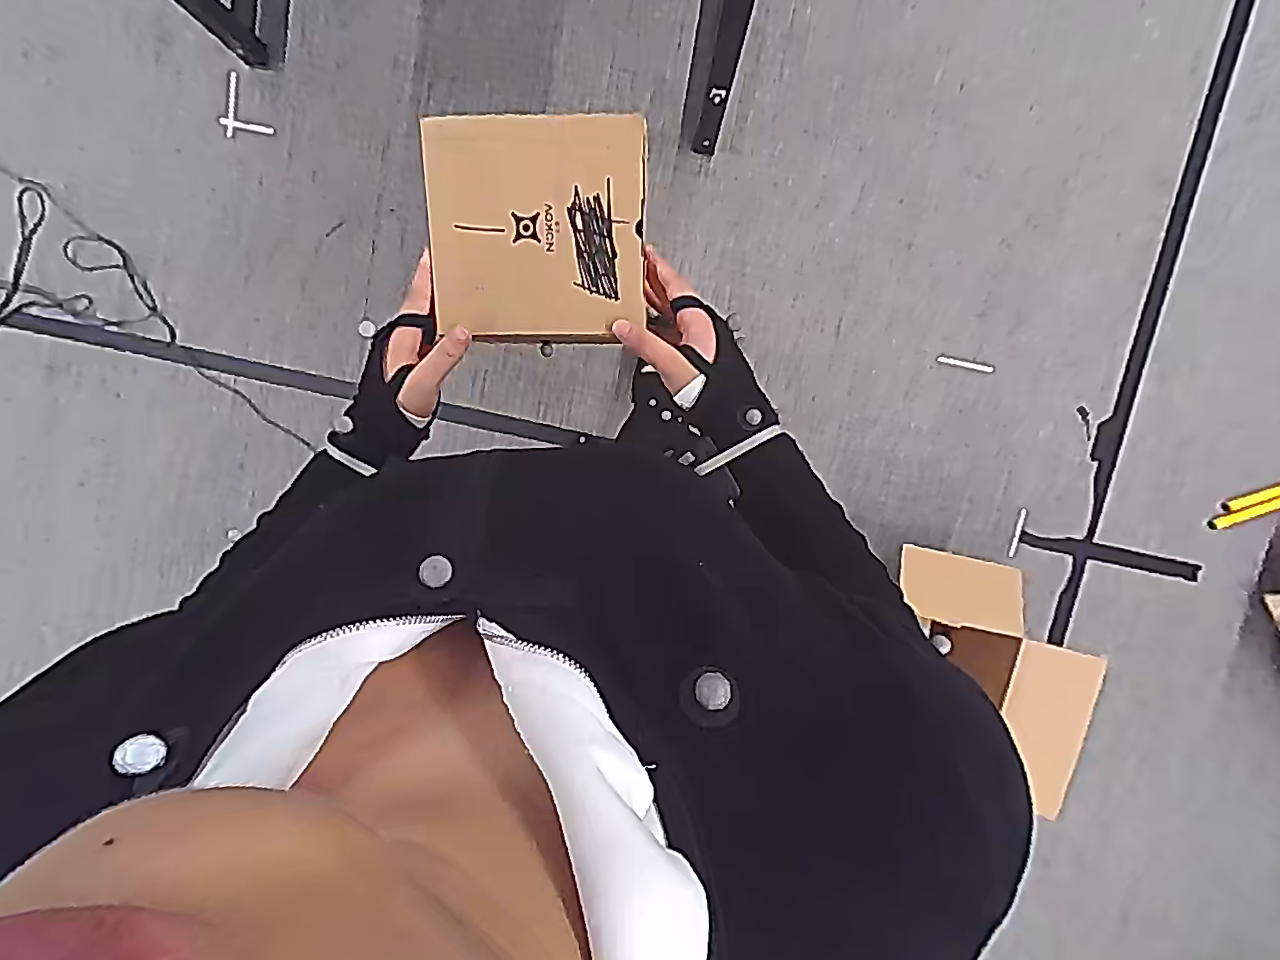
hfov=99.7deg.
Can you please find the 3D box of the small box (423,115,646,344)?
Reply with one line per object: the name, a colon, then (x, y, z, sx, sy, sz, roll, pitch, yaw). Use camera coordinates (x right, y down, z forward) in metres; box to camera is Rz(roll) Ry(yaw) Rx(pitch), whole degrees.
small box: (-0.083, -0.219, 0.515, 0.179, 0.176, 0.168, 0, 101, 1)
